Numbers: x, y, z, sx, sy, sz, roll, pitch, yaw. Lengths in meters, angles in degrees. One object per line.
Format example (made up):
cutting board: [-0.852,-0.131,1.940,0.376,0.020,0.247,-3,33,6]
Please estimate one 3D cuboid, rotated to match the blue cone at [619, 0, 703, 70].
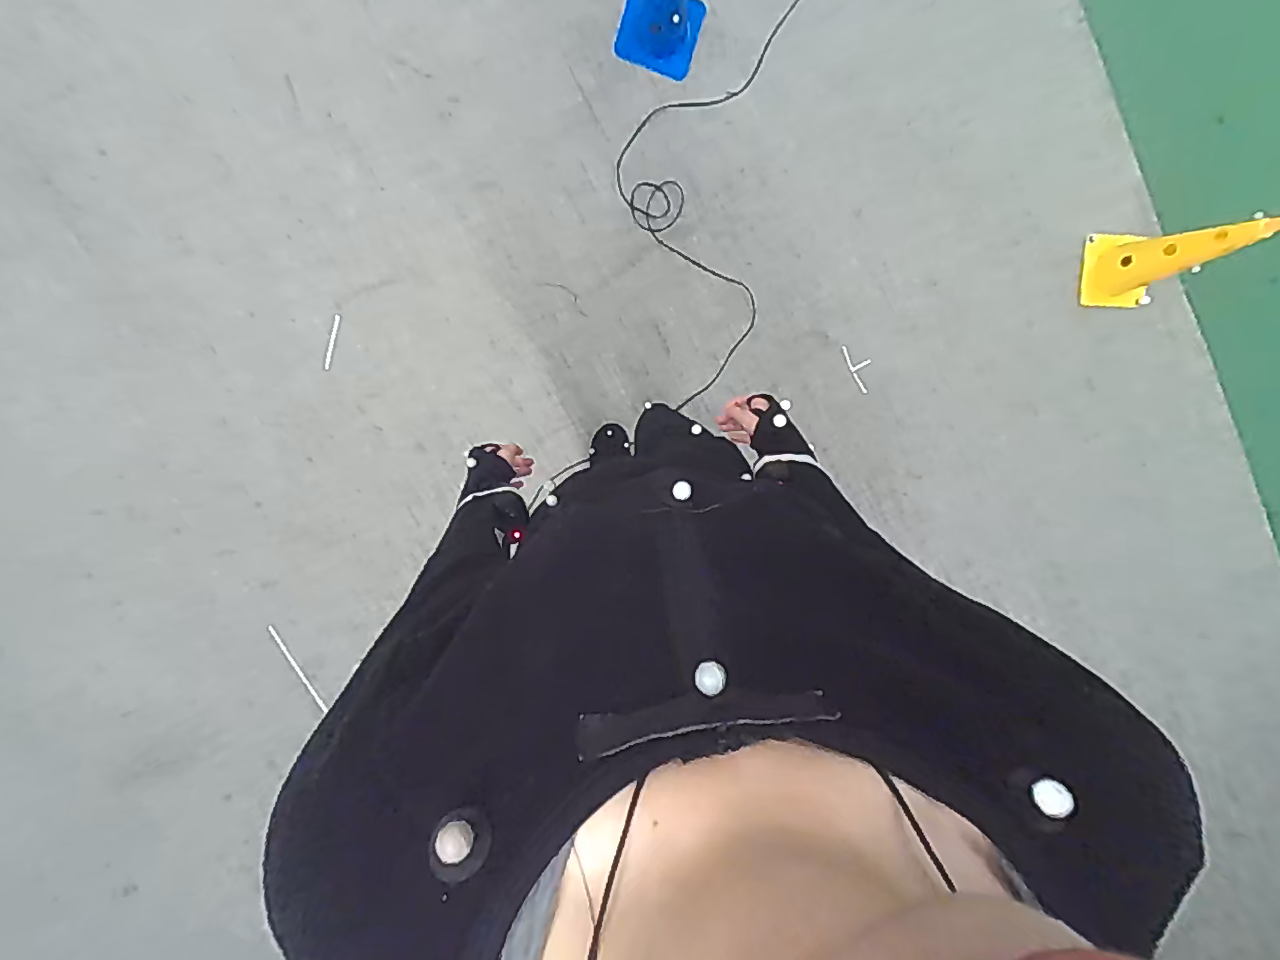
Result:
blue cone: [0.061,-1.129,1.200,0.193,0.380,0.192,16,95,-5]
